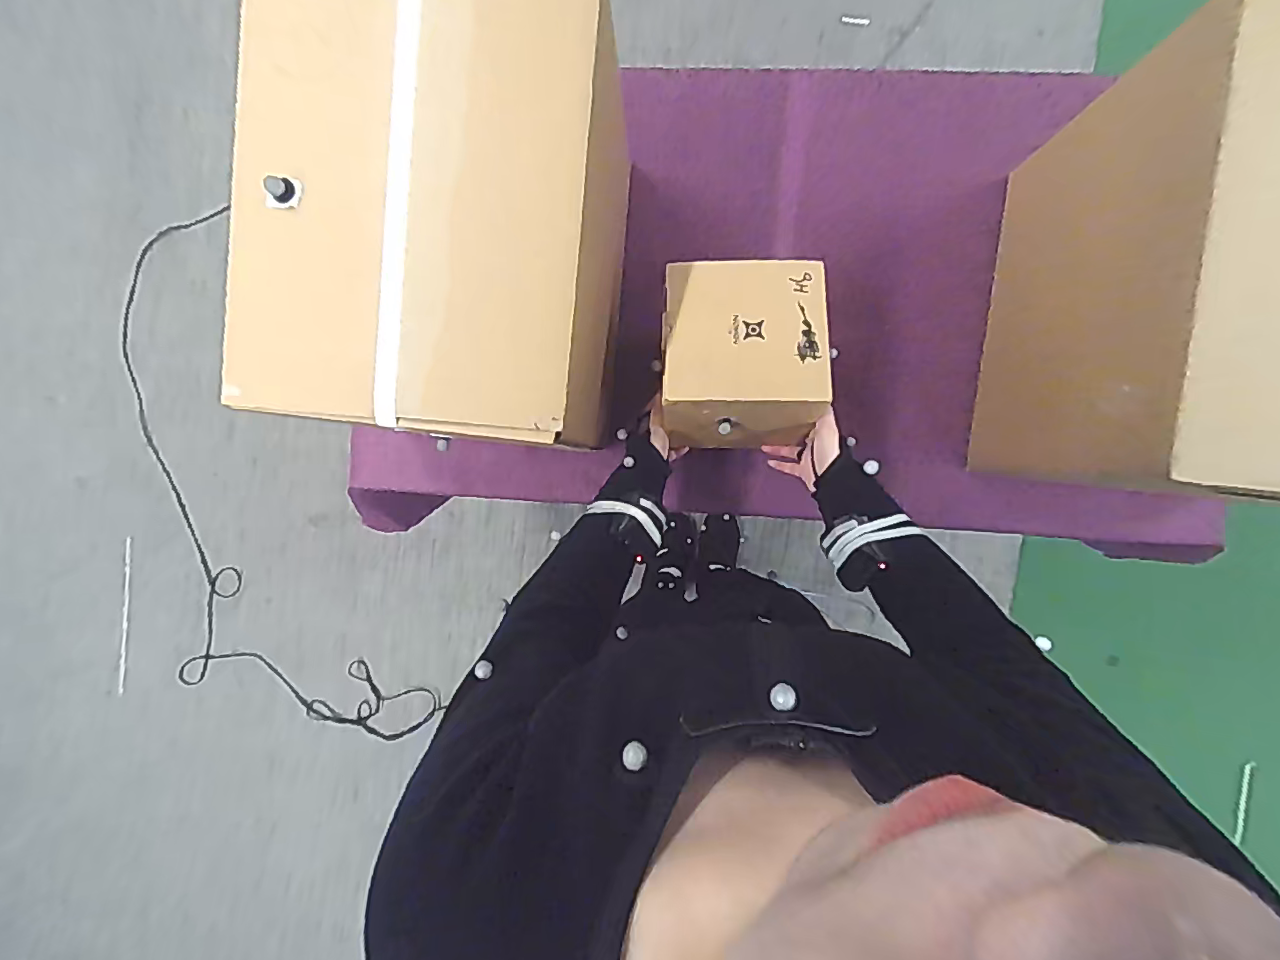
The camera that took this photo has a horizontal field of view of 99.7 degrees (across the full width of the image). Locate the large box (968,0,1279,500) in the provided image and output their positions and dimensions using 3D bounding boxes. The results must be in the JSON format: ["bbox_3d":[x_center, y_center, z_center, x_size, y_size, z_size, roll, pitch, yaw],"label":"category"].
[{"bbox_3d":[0.607,-0.191,0.575,0.320,0.320,0.408,7,93,3],"label":"large box"}]
